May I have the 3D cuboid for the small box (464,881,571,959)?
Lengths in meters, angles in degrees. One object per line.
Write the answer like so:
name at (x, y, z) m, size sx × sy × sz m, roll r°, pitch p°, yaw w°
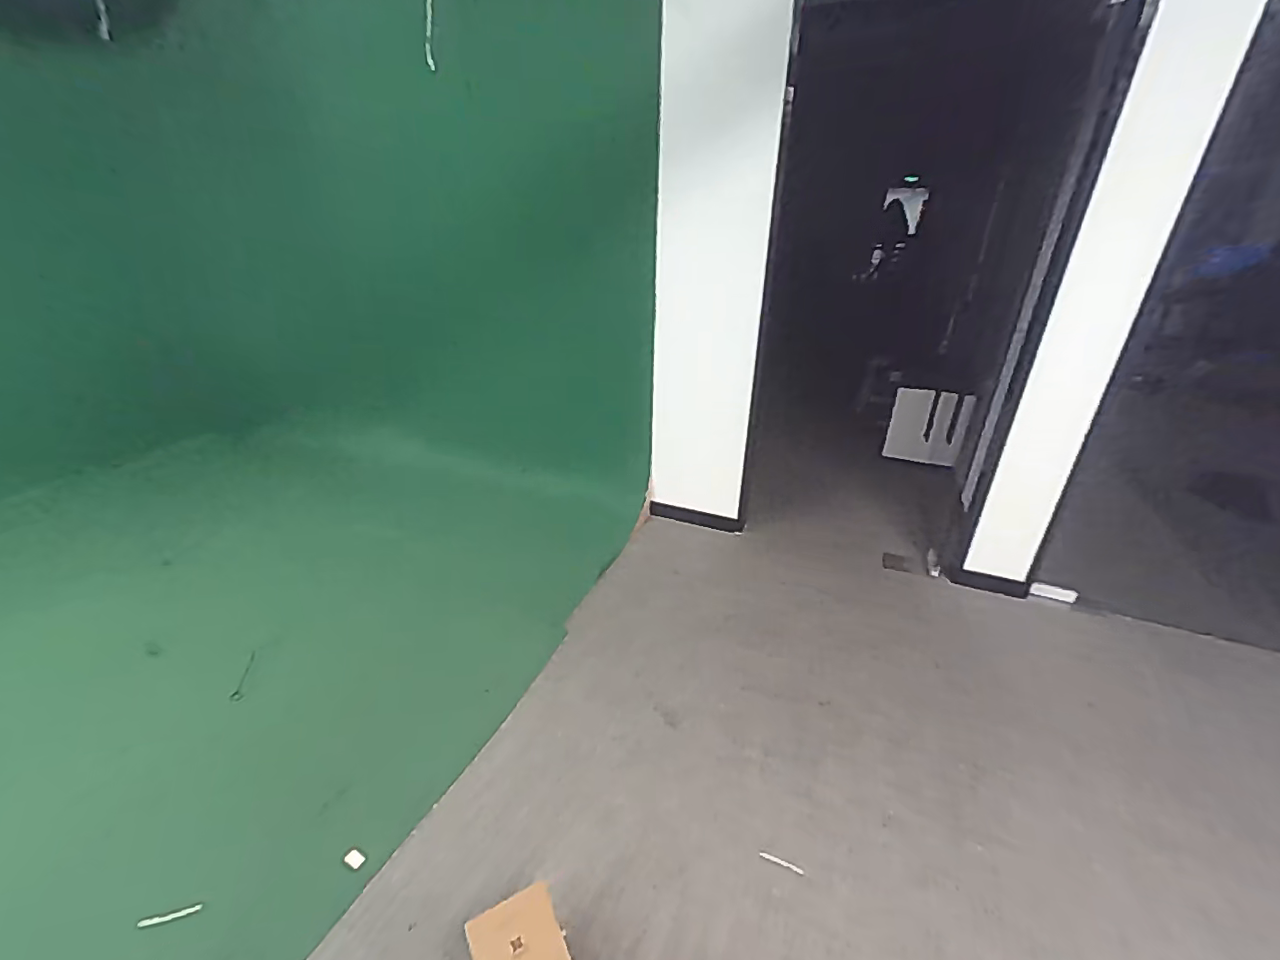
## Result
small box at (-0.235, 0.958, 1.063) m, size 0.168 × 0.176 × 0.179 m, roll -13°, pitch 29°, yaw -28°
